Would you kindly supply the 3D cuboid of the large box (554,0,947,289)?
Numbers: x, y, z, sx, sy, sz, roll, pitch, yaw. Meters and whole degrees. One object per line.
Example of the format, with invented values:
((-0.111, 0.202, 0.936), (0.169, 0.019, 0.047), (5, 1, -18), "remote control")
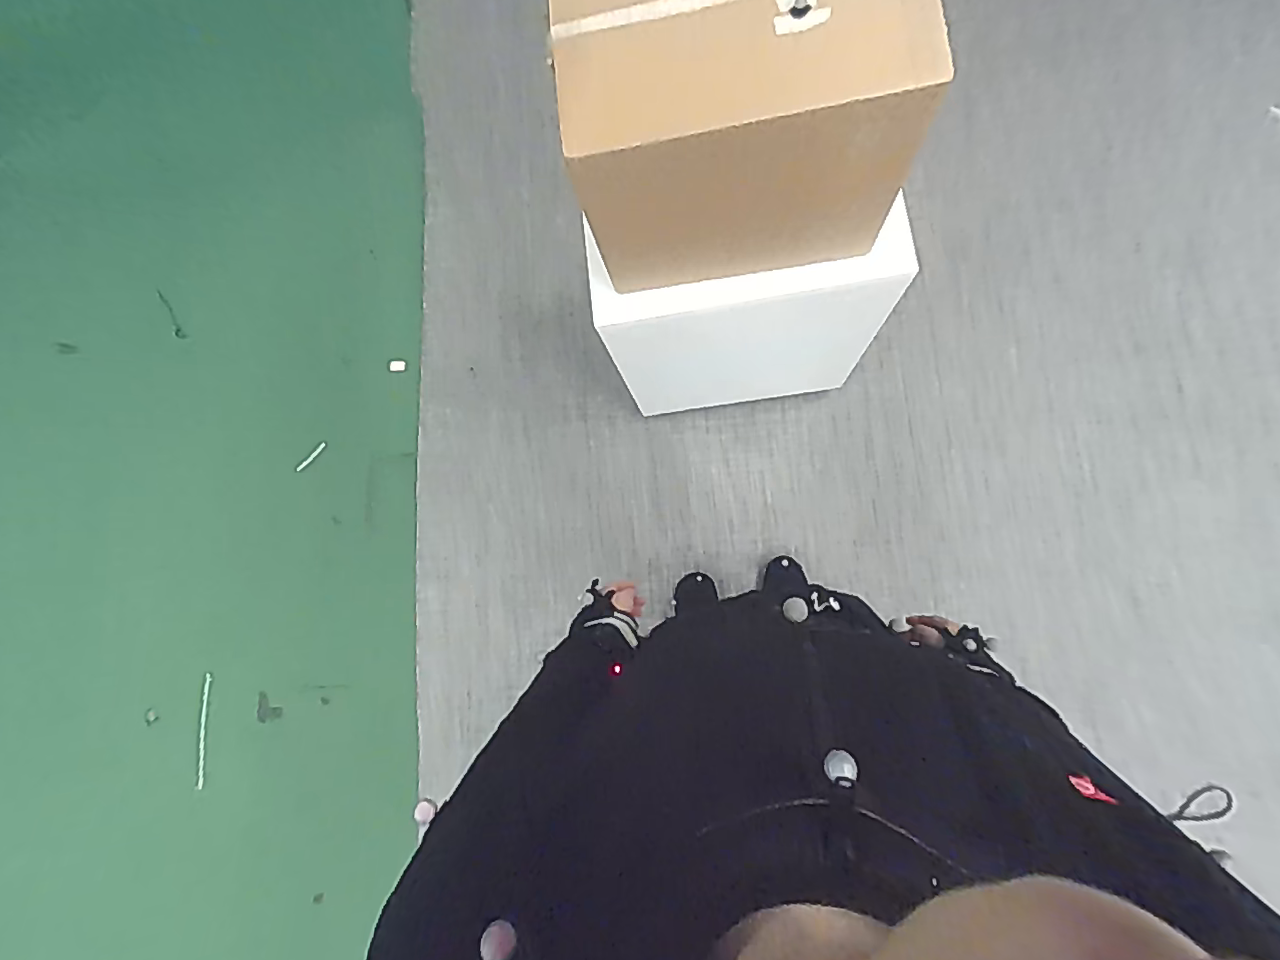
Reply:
((0.119, -0.504, 0.739), (0.408, 0.320, 0.320), (-7, 81, 6), "large box")
